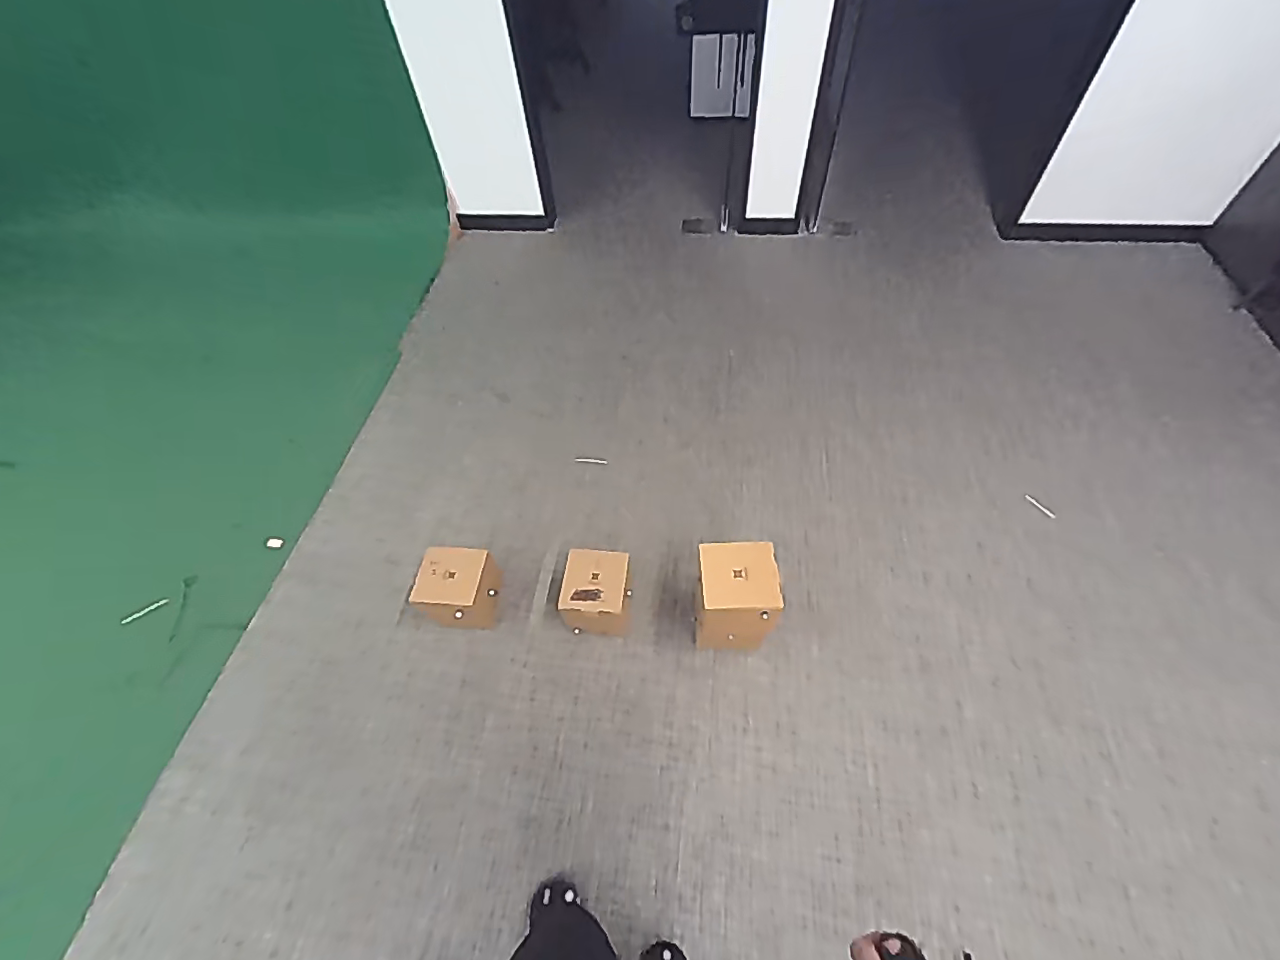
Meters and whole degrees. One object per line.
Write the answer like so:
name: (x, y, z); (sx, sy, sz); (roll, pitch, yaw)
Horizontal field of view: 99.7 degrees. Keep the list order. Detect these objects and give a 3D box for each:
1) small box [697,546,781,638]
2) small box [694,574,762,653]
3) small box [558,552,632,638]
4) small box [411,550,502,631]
small box: (0.227, 0.272, 1.296); (0.179, 0.176, 0.168); (-2, 55, 2)
small box: (0.235, 0.353, 1.437); (0.179, 0.176, 0.168); (2, 55, 5)
small box: (-0.114, 0.319, 1.484); (0.168, 0.176, 0.179); (4, 54, 6)
small box: (-0.502, 0.313, 1.515); (0.179, 0.176, 0.168); (3, 54, 6)
